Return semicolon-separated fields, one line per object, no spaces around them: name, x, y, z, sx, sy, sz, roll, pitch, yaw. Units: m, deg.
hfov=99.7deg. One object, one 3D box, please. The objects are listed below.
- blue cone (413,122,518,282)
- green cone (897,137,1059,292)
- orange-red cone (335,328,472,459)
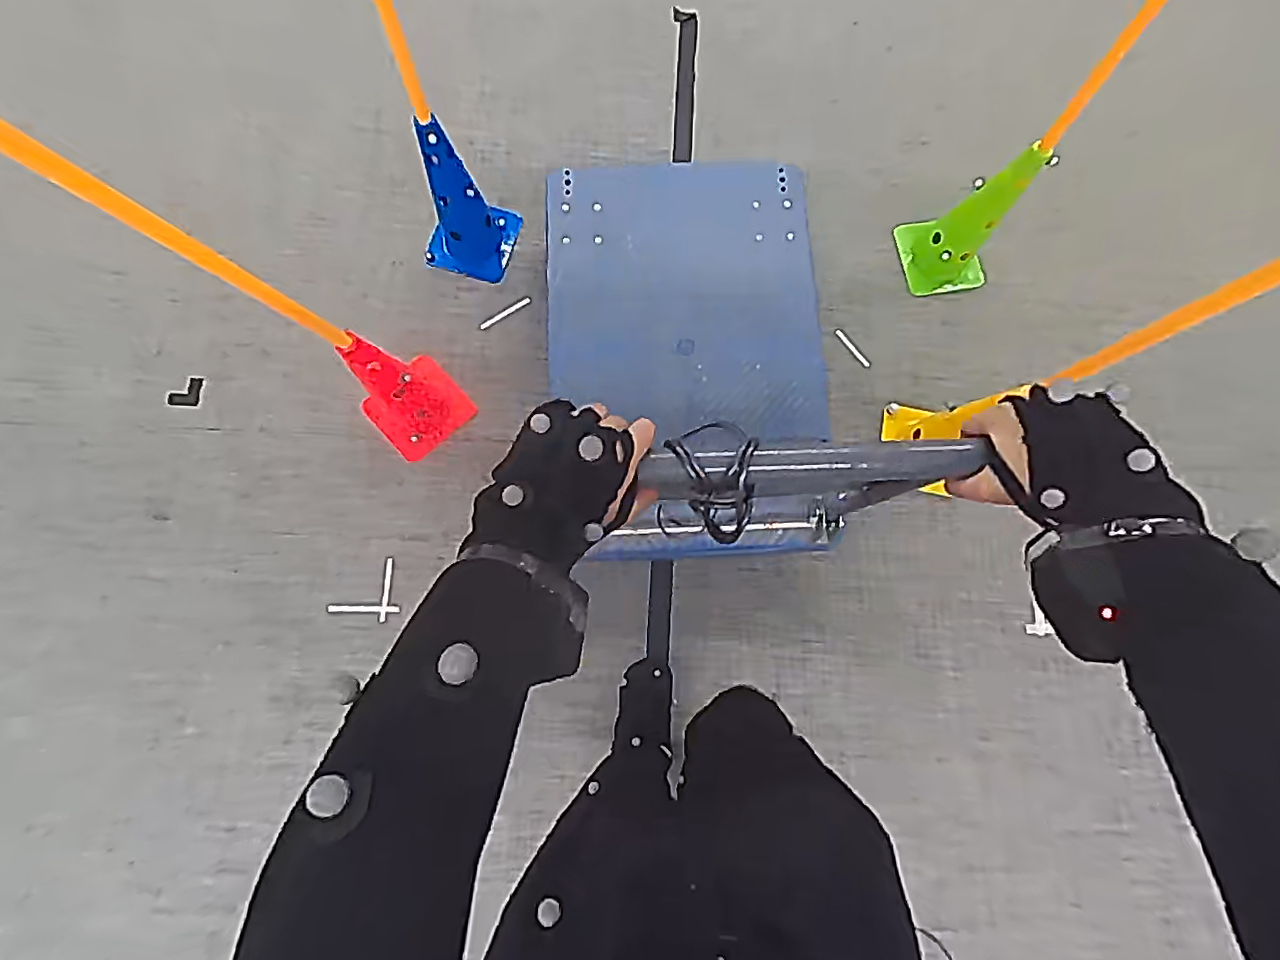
blue cone;-0.409;-0.627;1.187;0.193;0.380;0.192;18;79;2
green cone;0.773;-0.612;1.210;0.200;0.368;0.202;-11;80;-4
orange-red cone;-0.507;-0.207;1.083;0.199;0.360;0.198;-41;83;-11
